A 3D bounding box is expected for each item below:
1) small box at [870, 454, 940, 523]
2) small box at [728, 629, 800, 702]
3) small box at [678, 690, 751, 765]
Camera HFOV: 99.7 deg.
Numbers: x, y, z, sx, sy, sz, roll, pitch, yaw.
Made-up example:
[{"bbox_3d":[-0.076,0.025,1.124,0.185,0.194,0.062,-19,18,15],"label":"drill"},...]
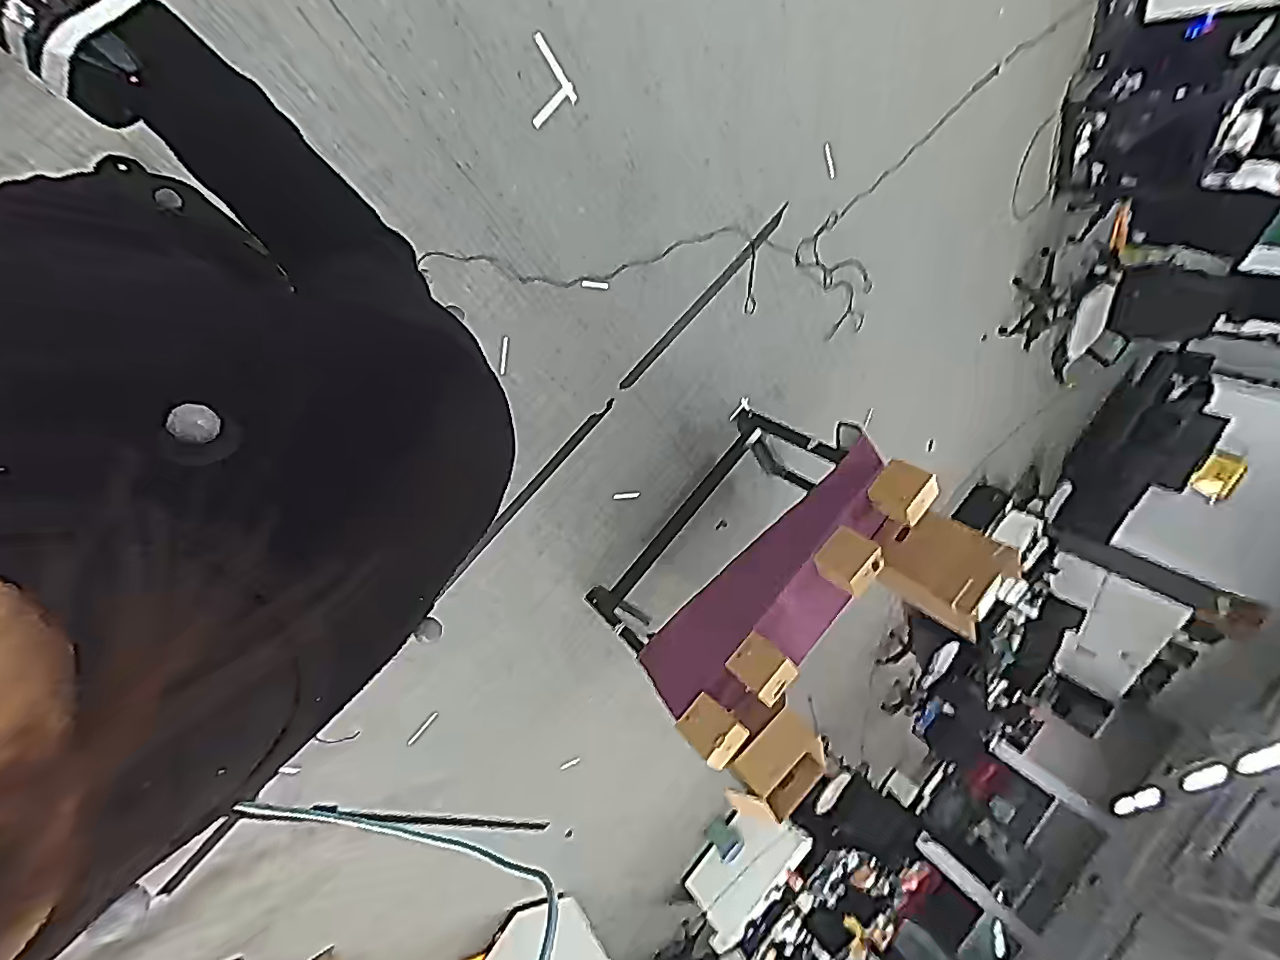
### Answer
[{"bbox_3d":[1.019,0.029,2.081,0.179,0.176,0.168,-51,138,-2],"label":"small box"},{"bbox_3d":[0.456,0.679,1.987,0.168,0.176,0.179,-48,136,-8],"label":"small box"},{"bbox_3d":[0.268,0.890,1.949,0.168,0.176,0.179,-48,137,-9],"label":"small box"}]
